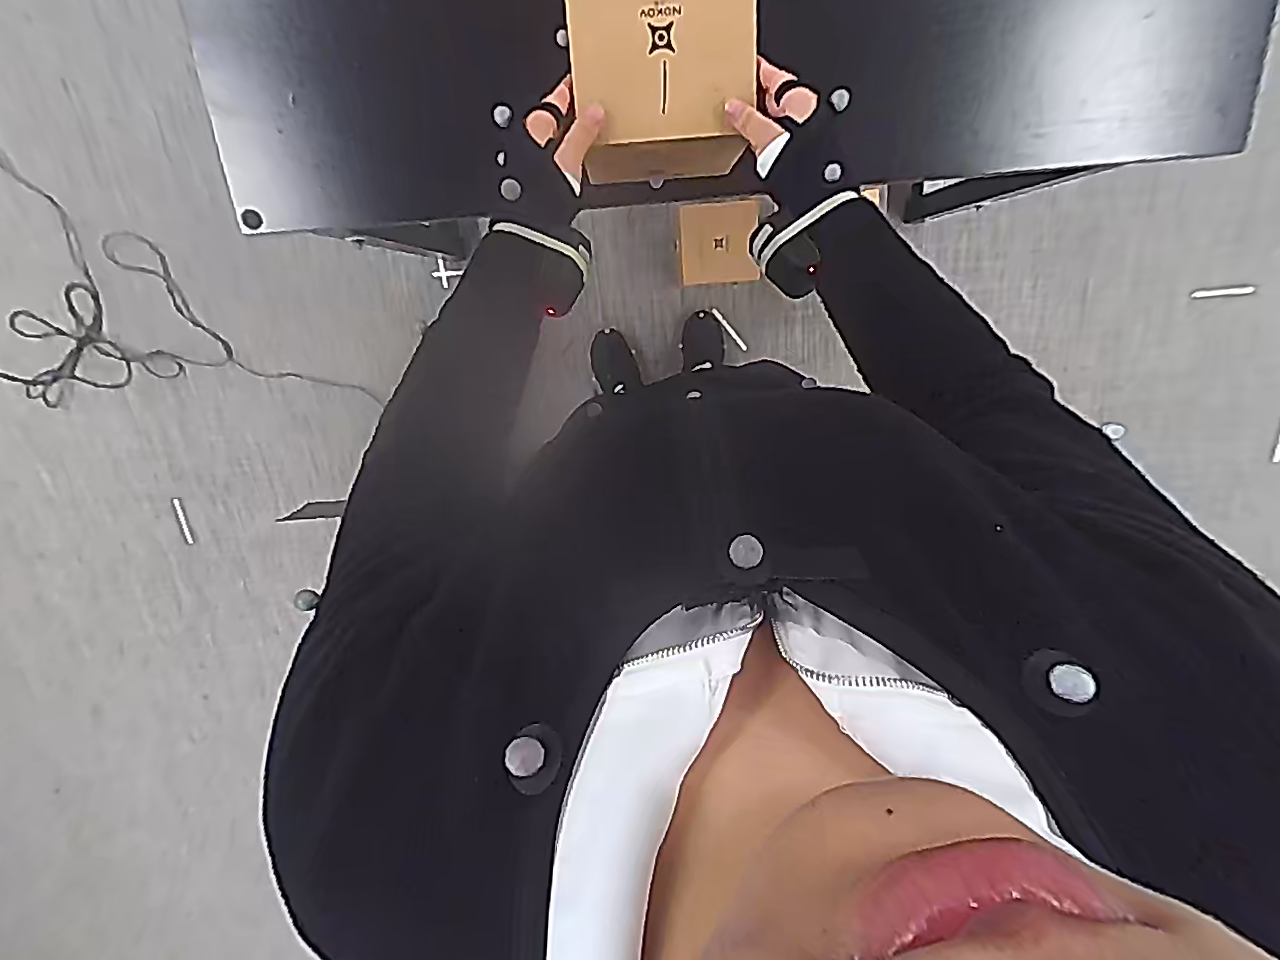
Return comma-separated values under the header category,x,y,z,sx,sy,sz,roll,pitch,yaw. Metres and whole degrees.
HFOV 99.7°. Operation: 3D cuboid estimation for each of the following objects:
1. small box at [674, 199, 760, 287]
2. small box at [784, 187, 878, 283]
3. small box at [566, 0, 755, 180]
category,x,y,z,sx,sy,sz,roll,pitch,yaw
small box,0.177,-0.550,1.270,0.179,0.176,0.168,-5,107,2
small box,0.439,-0.566,1.265,0.168,0.176,0.179,-5,108,2
small box,0.016,-0.420,0.542,0.168,0.176,0.179,-4,108,1
